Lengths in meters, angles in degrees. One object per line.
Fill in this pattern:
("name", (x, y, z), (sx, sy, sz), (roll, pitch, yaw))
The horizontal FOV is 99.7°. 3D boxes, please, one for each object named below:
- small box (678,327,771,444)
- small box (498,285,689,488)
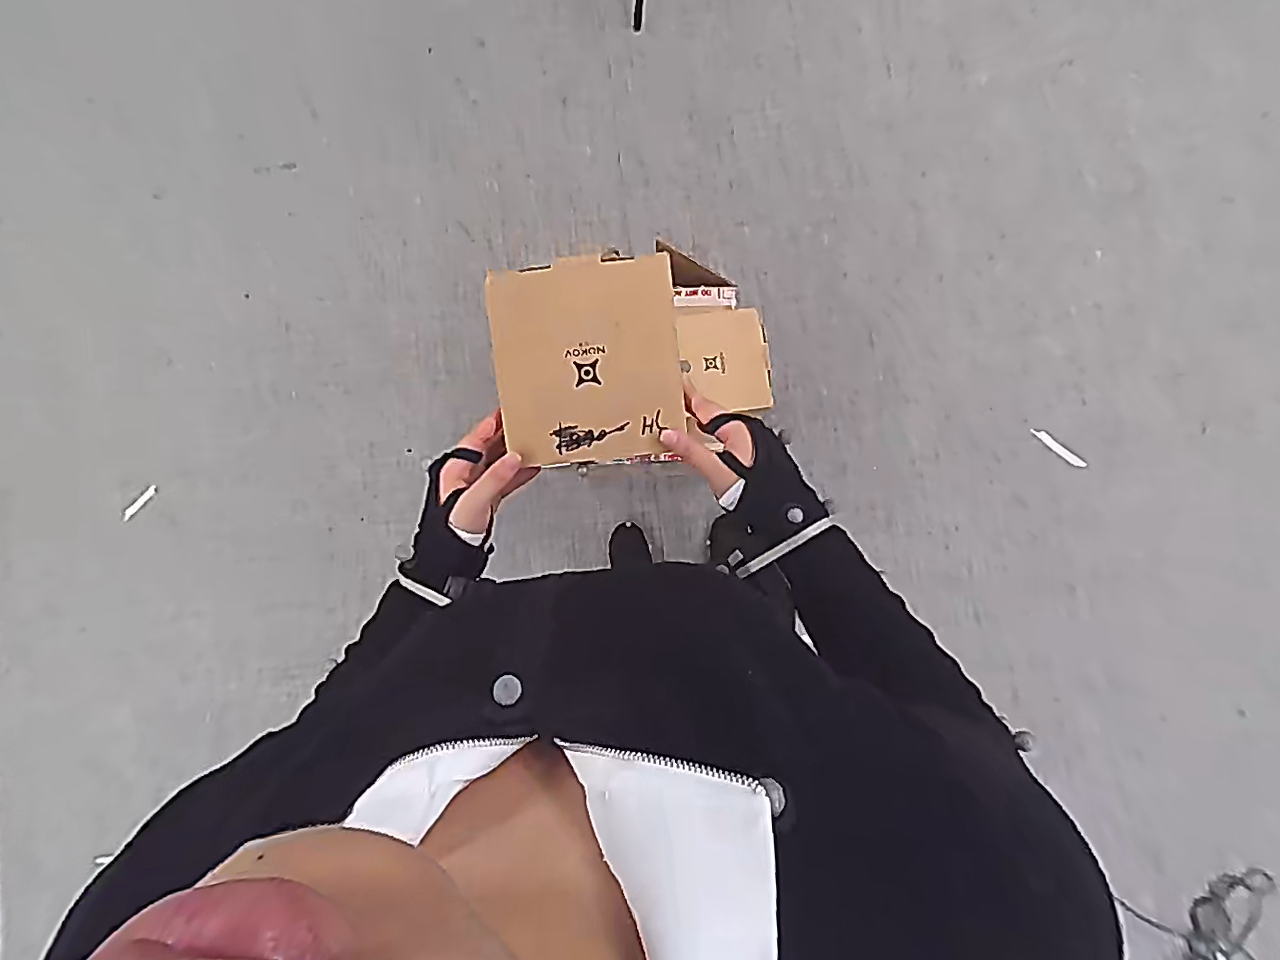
("small box", (0.122, -0.159, 0.964), (0.179, 0.176, 0.168), (-8, 87, 2))
("small box", (-0.042, -0.090, 0.580), (0.168, 0.176, 0.179), (-6, 94, 2))
